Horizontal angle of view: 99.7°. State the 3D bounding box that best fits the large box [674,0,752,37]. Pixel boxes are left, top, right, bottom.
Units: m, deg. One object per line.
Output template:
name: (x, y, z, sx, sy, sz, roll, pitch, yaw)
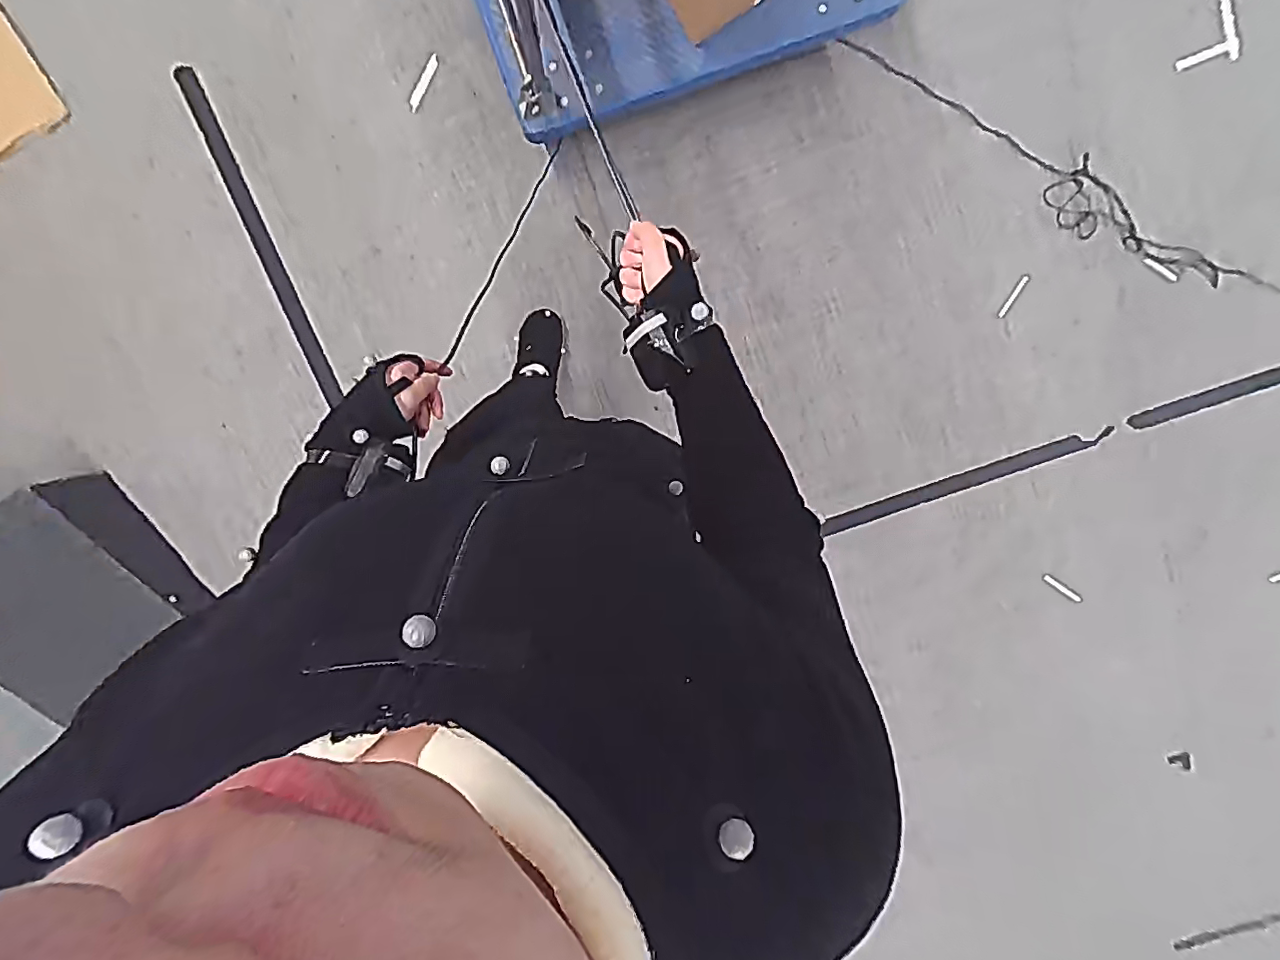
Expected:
large box: (0.140, -1.140, 0.947, 0.320, 0.320, 0.408, -33, 101, 5)
